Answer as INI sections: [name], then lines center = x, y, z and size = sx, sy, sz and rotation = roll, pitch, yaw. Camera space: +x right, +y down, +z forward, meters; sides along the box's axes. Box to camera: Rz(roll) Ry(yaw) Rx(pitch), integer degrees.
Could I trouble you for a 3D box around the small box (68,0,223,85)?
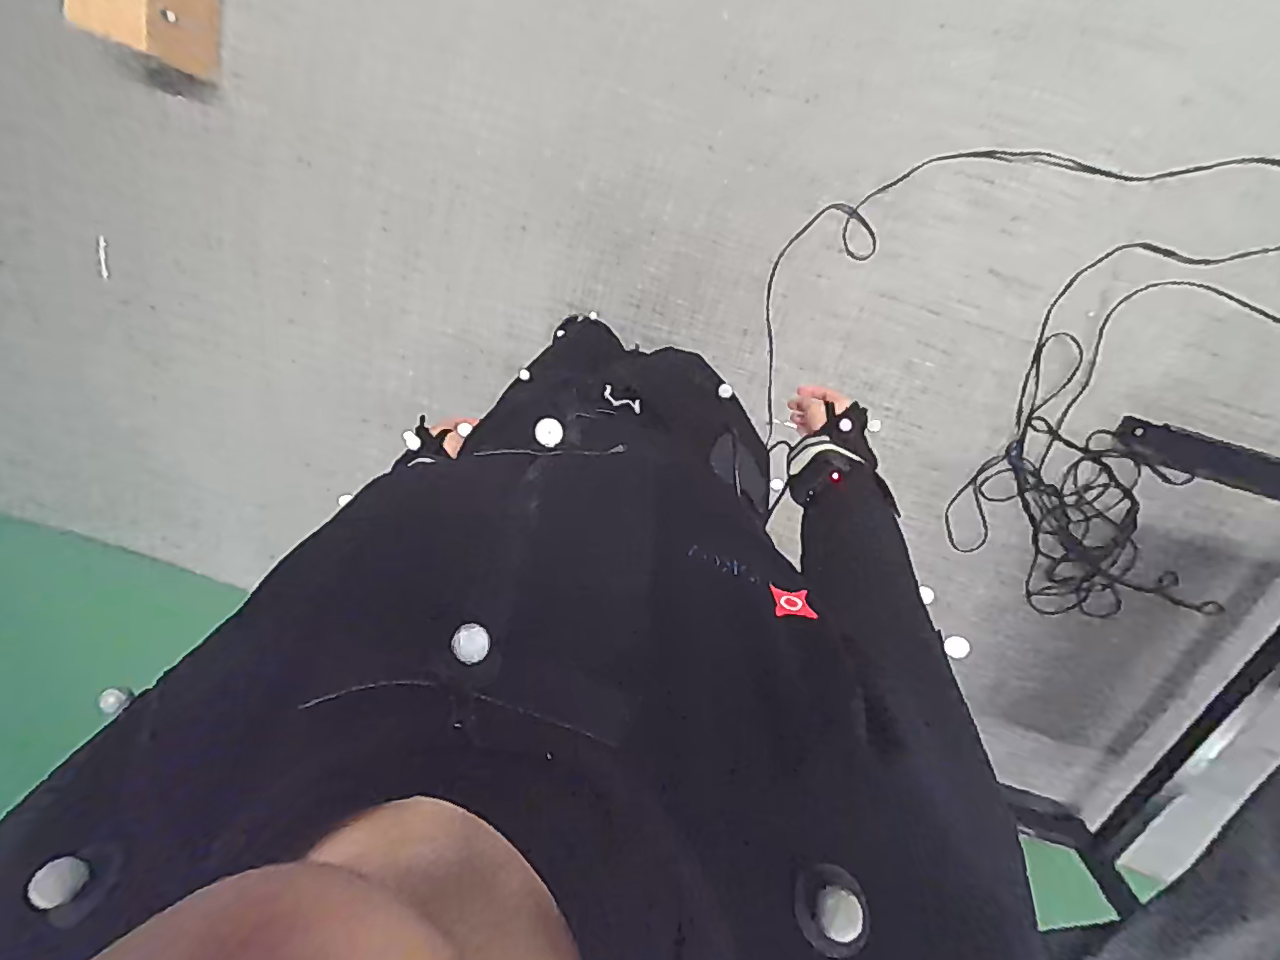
[small box]
center = -0.978, -0.940, 1.081
size = 0.168, 0.176, 0.179
rotation = 20, 111, -1
